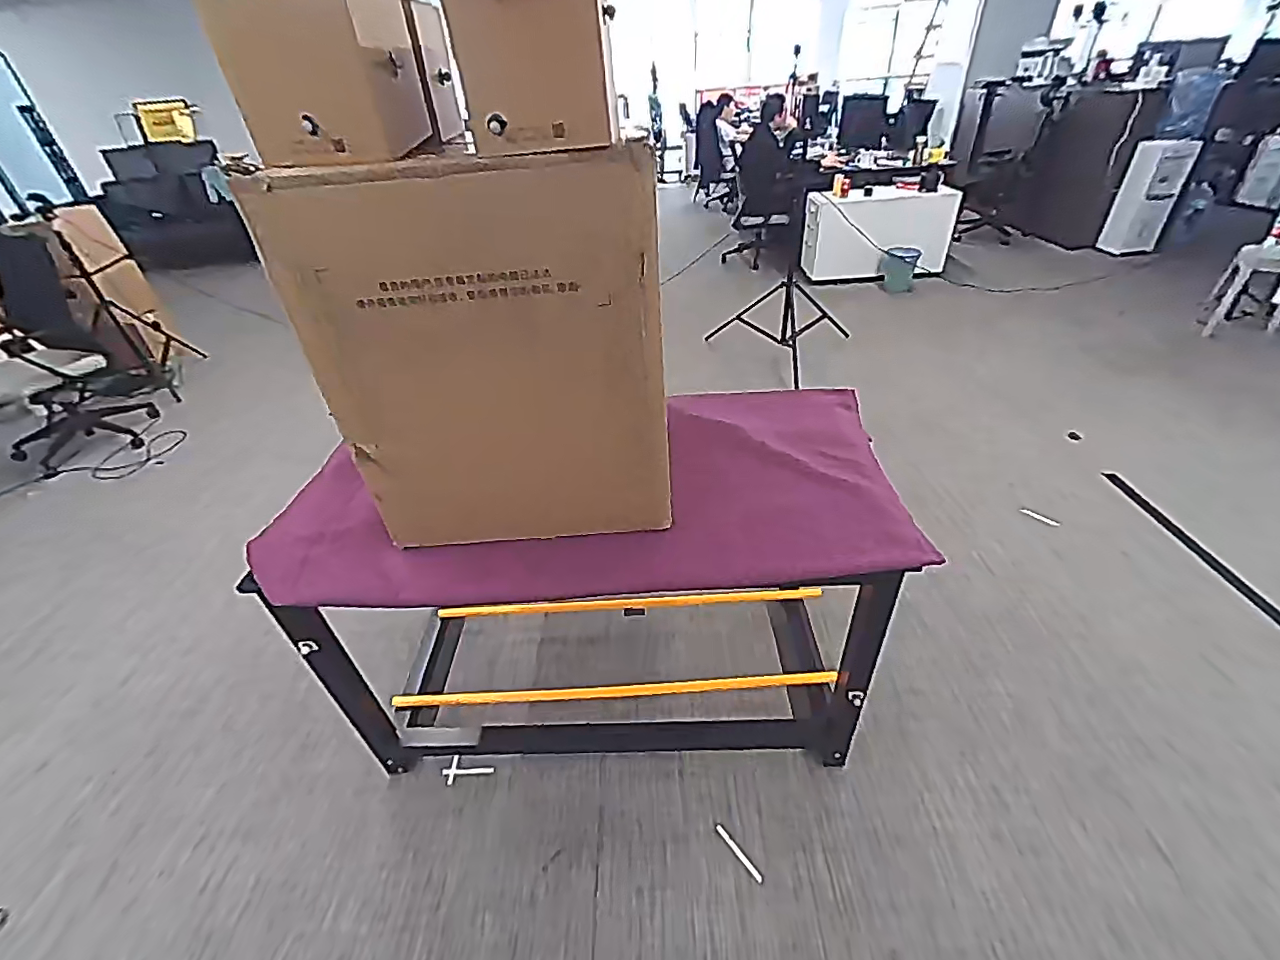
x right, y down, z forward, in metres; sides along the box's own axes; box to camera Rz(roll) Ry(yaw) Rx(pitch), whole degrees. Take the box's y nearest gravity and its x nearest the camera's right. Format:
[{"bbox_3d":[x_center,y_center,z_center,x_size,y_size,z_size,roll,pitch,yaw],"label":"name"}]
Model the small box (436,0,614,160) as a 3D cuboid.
[{"bbox_3d":[-0.122,-0.496,0.655,0.168,0.176,0.179,-4,38,2],"label":"small box"}]
